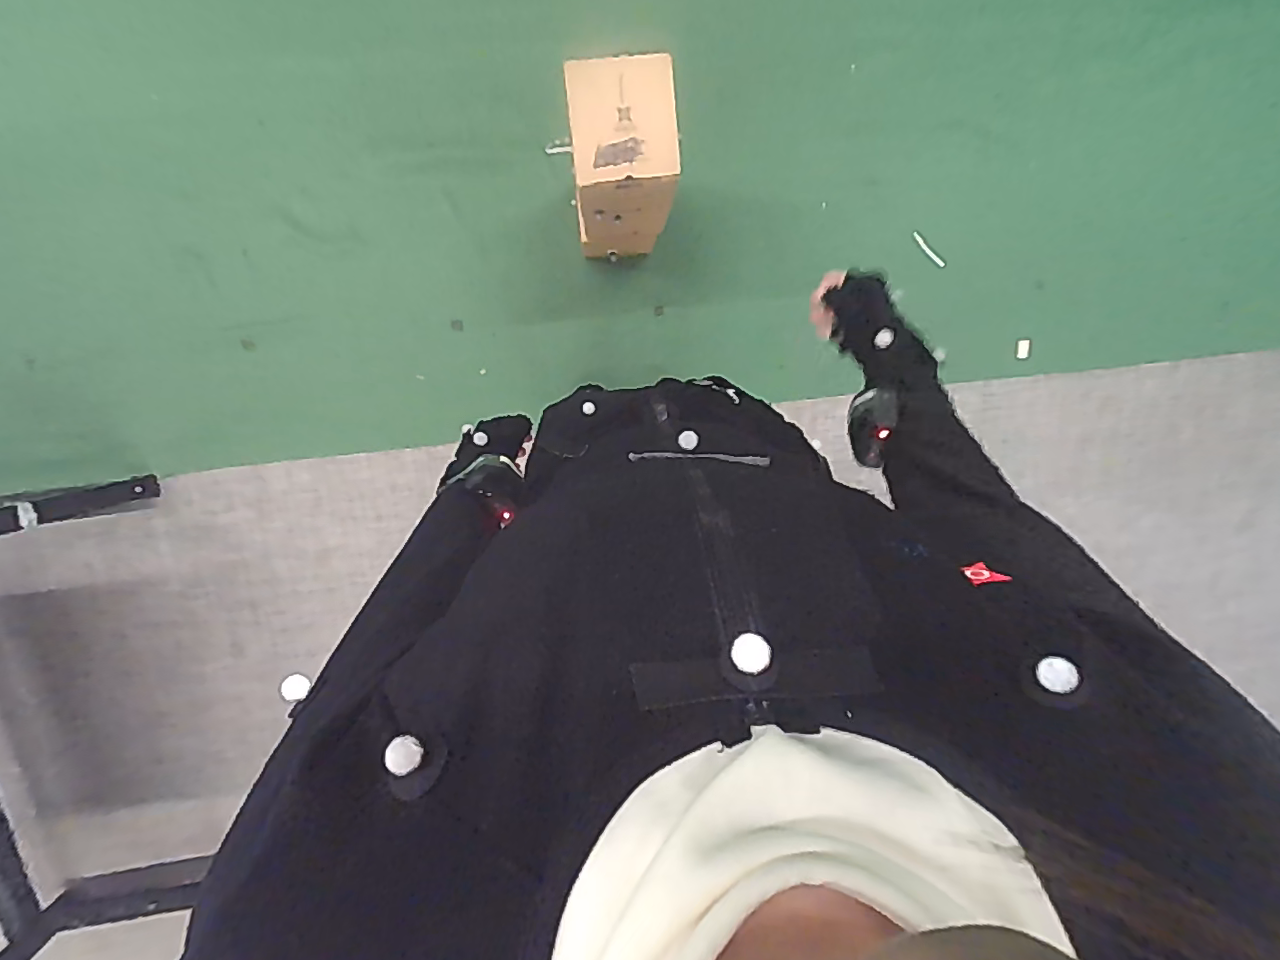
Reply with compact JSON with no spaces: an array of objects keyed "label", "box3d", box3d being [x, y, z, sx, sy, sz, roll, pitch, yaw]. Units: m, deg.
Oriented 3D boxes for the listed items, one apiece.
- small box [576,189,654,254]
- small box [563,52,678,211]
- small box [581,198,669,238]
[{"label":"small box","box3d":[-0.057,-0.619,1.209,0.168,0.176,0.179,-3,101,-1]},{"label":"small box","box3d":[-0.031,-0.567,0.905,0.168,0.176,0.179,-6,100,-2]},{"label":"small box","box3d":[-0.038,-0.598,1.066,0.168,0.176,0.179,-6,100,-2]}]
